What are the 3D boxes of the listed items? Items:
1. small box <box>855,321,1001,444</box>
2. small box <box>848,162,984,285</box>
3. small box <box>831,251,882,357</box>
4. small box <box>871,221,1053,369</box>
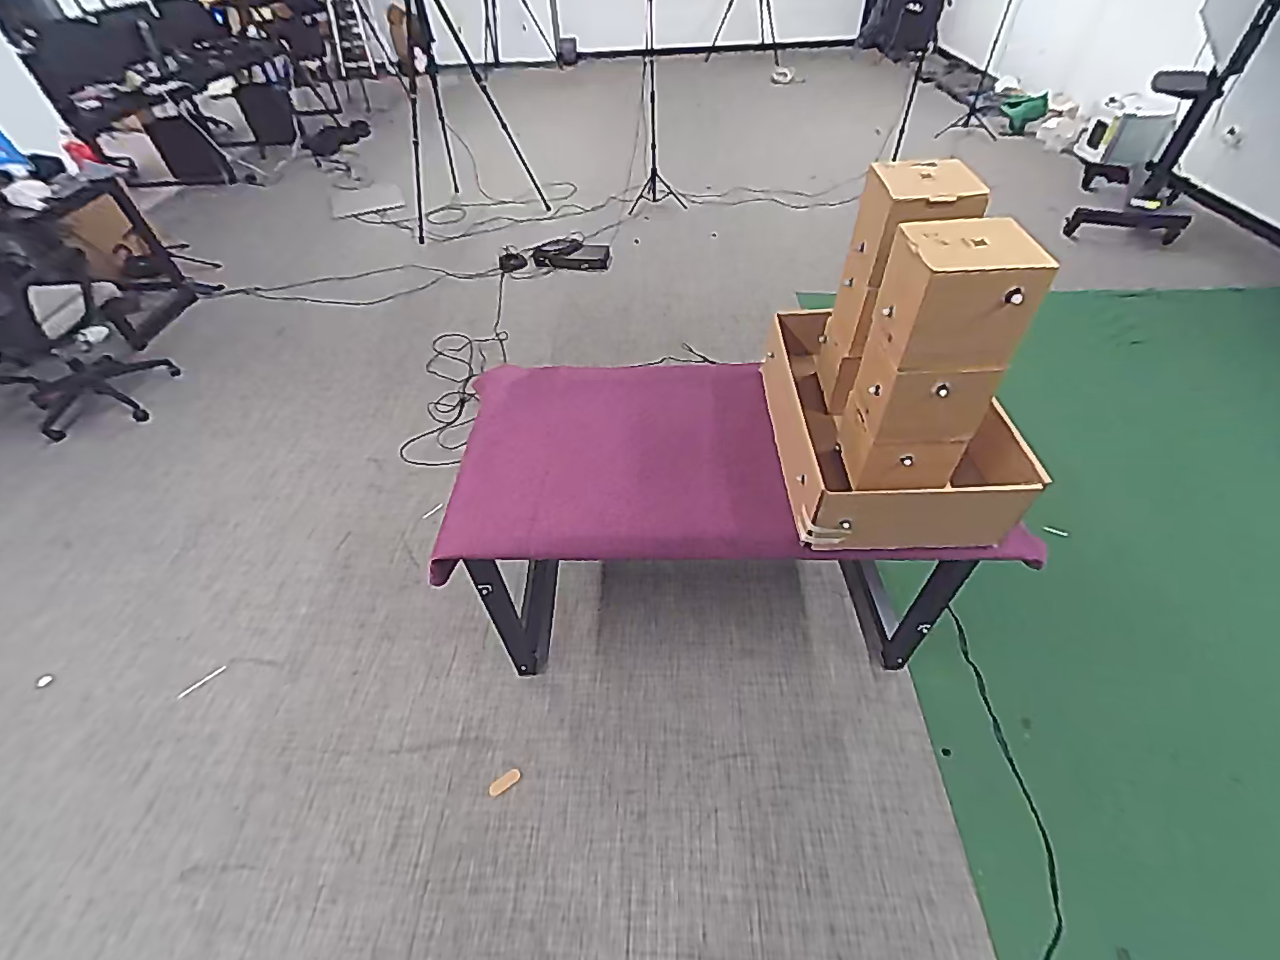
[{"bbox_3d":[0.504,-0.178,0.983,0.179,0.176,0.168,0,48,5],"label":"small box"},{"bbox_3d":[0.516,-0.486,1.042,0.168,0.176,0.179,0,49,4],"label":"small box"},{"bbox_3d":[0.523,-0.376,1.163,0.168,0.176,0.179,0,48,4],"label":"small box"},{"bbox_3d":[0.495,-0.292,0.864,0.179,0.176,0.168,-1,47,4],"label":"small box"}]
